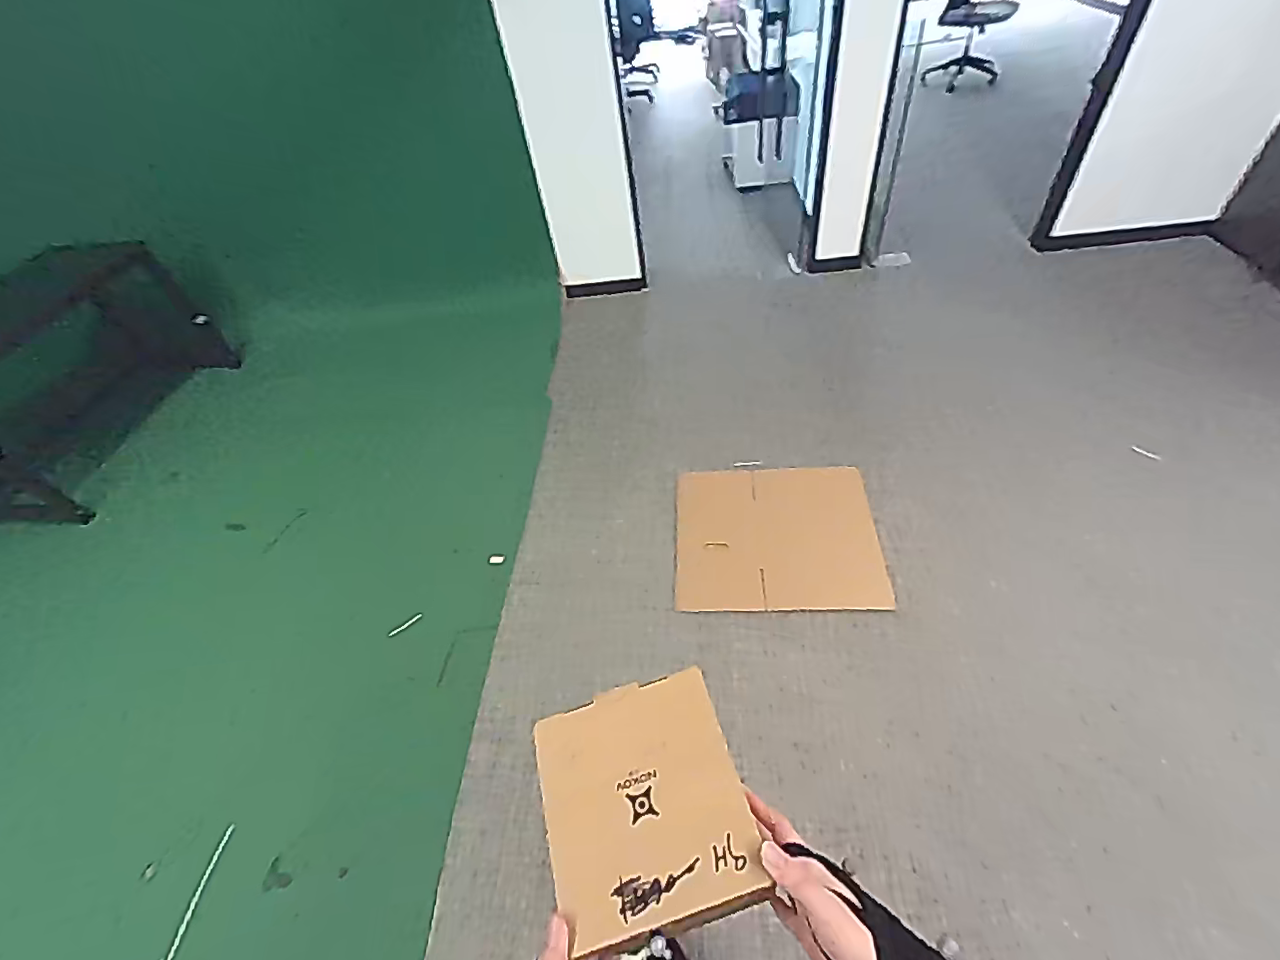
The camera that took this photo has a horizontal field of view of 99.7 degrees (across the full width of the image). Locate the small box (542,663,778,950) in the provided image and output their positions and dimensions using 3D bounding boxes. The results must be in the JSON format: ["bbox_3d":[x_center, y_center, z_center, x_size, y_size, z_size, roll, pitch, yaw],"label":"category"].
[{"bbox_3d":[0.018,0.308,0.509,0.168,0.176,0.179,-18,47,-2],"label":"small box"}]
